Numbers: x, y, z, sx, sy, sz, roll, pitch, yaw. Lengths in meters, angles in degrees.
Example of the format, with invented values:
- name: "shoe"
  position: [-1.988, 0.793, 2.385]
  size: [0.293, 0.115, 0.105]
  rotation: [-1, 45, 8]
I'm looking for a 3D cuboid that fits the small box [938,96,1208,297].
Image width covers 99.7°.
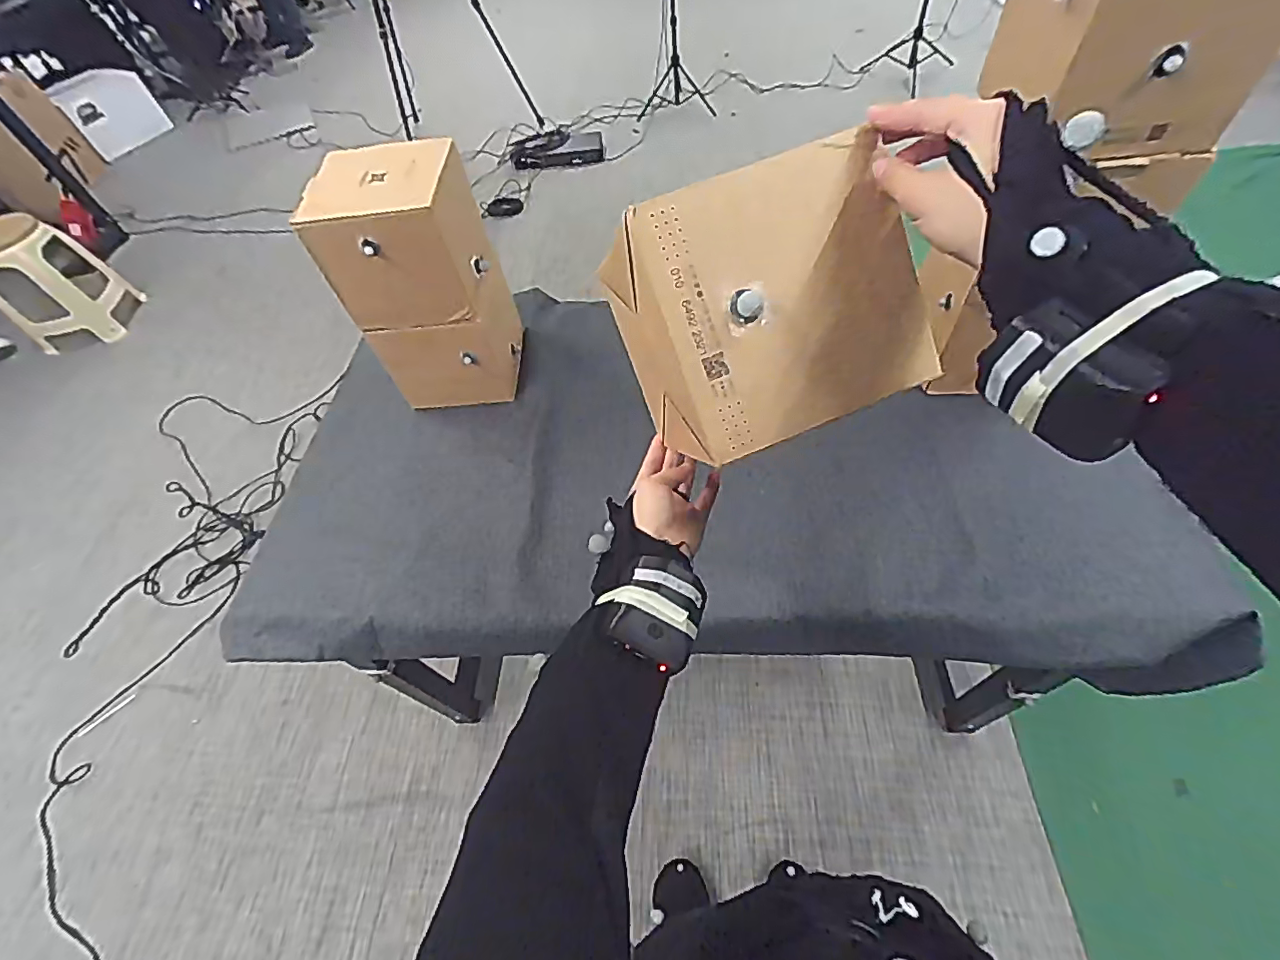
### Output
- name: "small box"
  position: [0.476, -0.331, 0.633]
  size: [0.168, 0.176, 0.179]
  rotation: [1, 57, 8]

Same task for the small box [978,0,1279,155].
- name: "small box"
  position: [0.450, -0.423, 0.498]
  size: [0.168, 0.176, 0.179]
  rotation: [-1, 56, 7]

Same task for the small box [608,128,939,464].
- name: "small box"
  position: [0.081, -0.123, 0.415]
  size: [0.176, 0.168, 0.179]
  rotation: [-22, 11, -5]

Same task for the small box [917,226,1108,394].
- name: "small box"
  position: [0.497, -0.244, 0.770]
  size: [0.168, 0.176, 0.179]
  rotation: [0, 56, 8]

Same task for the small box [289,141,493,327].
- name: "small box"
  position: [-0.320, -0.326, 0.735]
  size: [0.179, 0.176, 0.168]
  rotation: [-4, 57, 3]
